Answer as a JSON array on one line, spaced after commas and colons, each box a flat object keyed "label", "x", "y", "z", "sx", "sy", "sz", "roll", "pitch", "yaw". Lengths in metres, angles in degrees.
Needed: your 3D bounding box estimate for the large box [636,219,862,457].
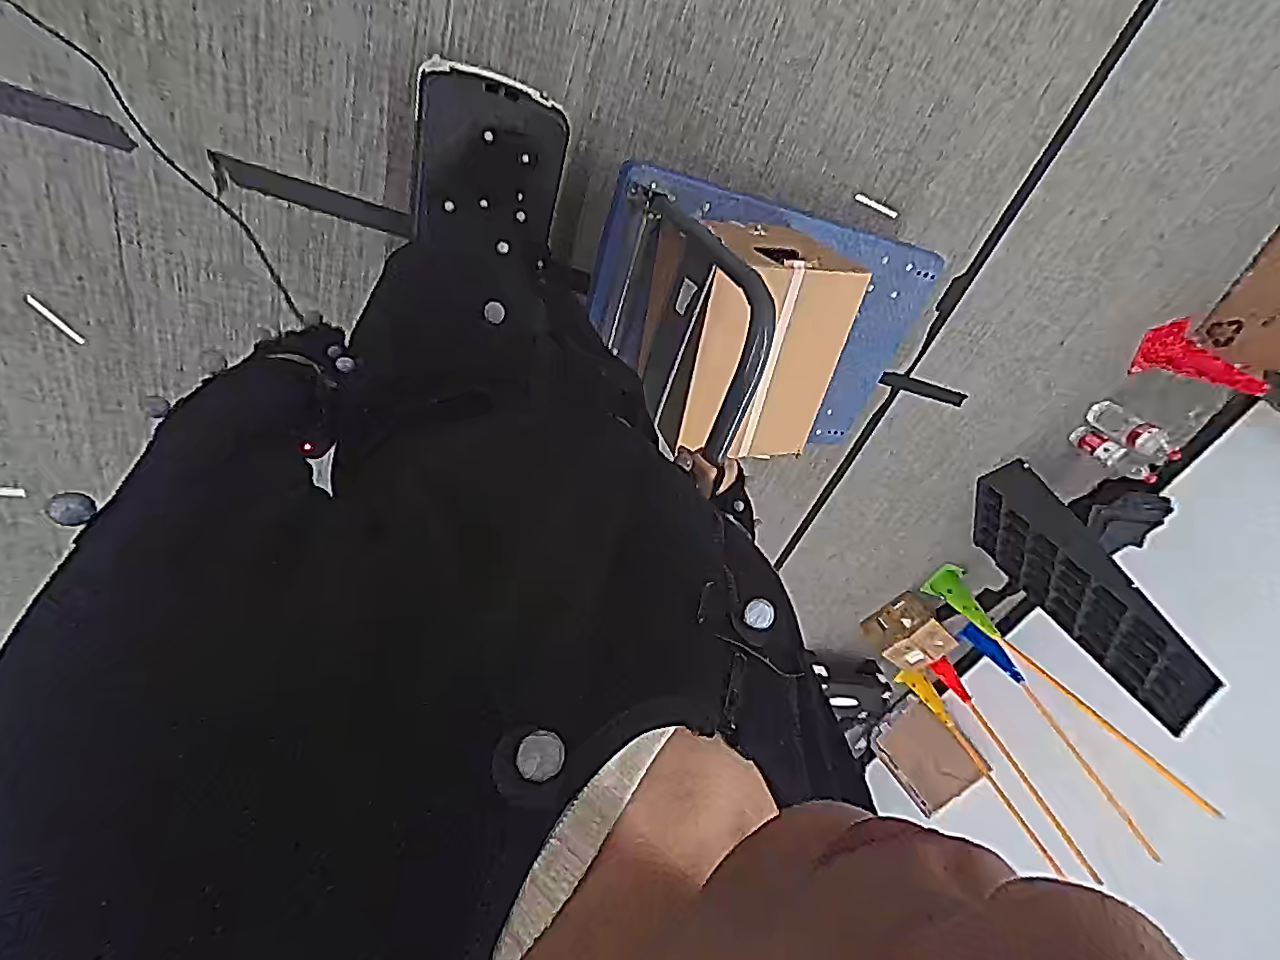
[{"label": "large box", "x": 0.197, "y": -0.307, "z": 1.166, "sx": 0.320, "sy": 0.320, "sz": 0.408, "roll": -3, "pitch": 129, "yaw": -17}]
